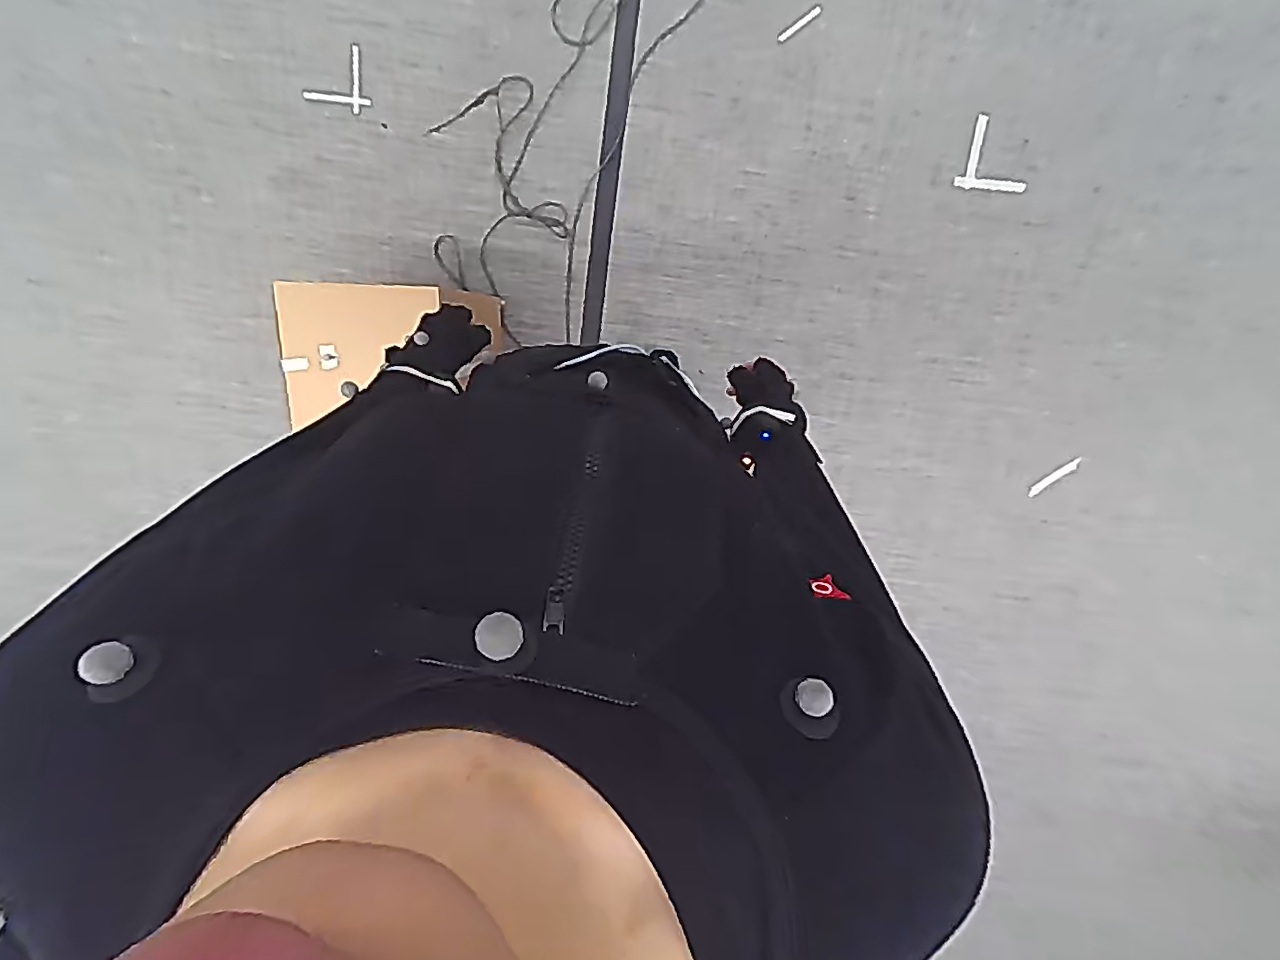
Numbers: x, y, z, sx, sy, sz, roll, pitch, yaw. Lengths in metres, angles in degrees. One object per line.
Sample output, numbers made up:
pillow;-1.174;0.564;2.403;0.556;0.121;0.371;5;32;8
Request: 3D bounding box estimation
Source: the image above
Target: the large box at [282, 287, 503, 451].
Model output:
large box;-0.522;-0.267;1.232;0.320;0.408;0.320;3;106;0
